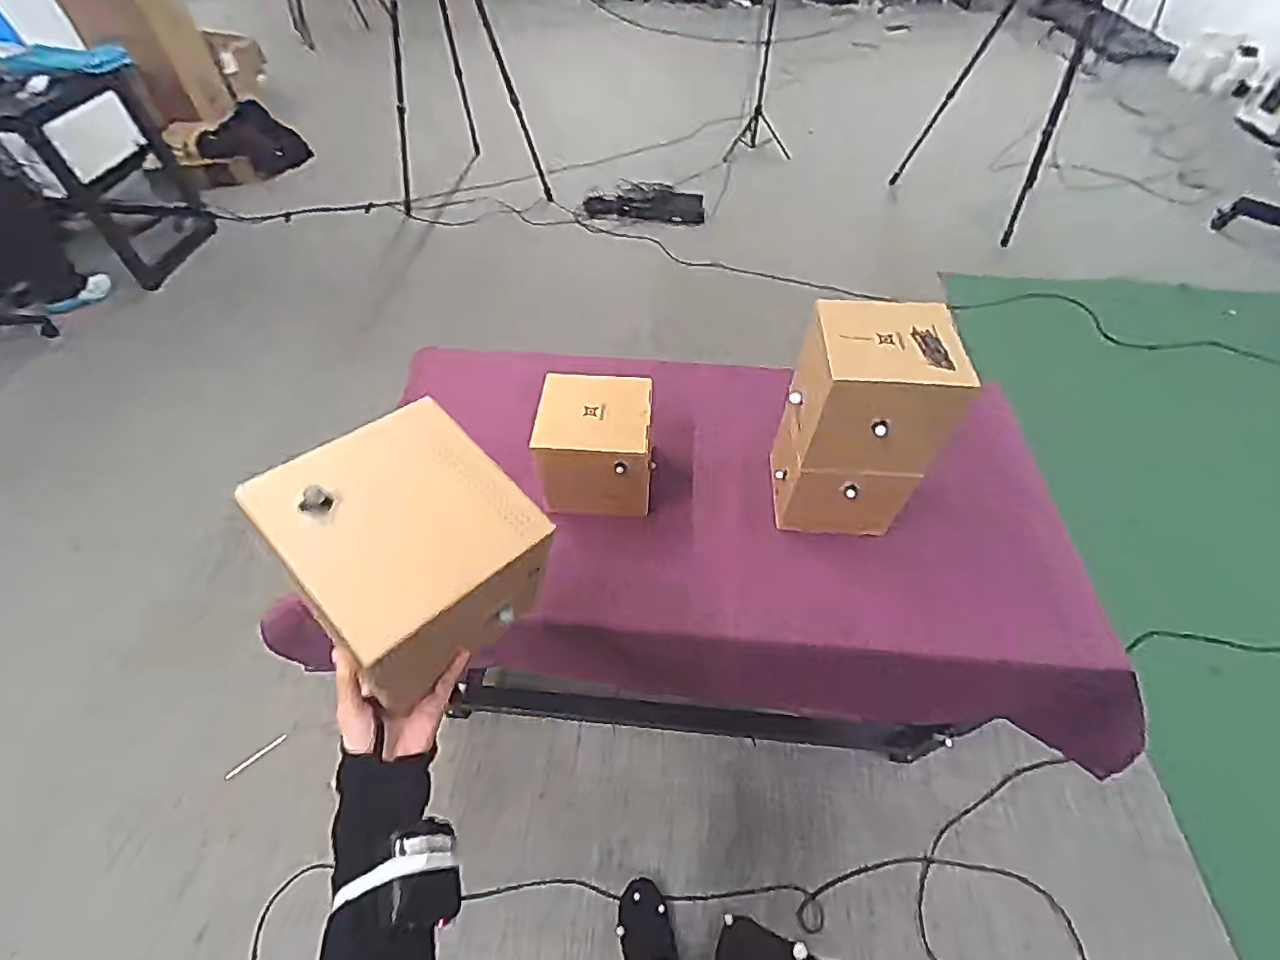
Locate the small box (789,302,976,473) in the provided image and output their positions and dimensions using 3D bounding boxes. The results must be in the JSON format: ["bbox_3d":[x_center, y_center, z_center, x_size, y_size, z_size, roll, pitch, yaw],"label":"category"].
[{"bbox_3d":[0.318,-0.124,0.752,0.179,0.176,0.168,3,52,3],"label":"small box"}]

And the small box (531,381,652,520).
[{"bbox_3d":[-0.071,-0.046,0.905,0.179,0.176,0.168,3,52,1],"label":"small box"}]

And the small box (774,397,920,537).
[{"bbox_3d":[0.319,-0.020,0.880,0.179,0.176,0.168,4,52,3],"label":"small box"}]
